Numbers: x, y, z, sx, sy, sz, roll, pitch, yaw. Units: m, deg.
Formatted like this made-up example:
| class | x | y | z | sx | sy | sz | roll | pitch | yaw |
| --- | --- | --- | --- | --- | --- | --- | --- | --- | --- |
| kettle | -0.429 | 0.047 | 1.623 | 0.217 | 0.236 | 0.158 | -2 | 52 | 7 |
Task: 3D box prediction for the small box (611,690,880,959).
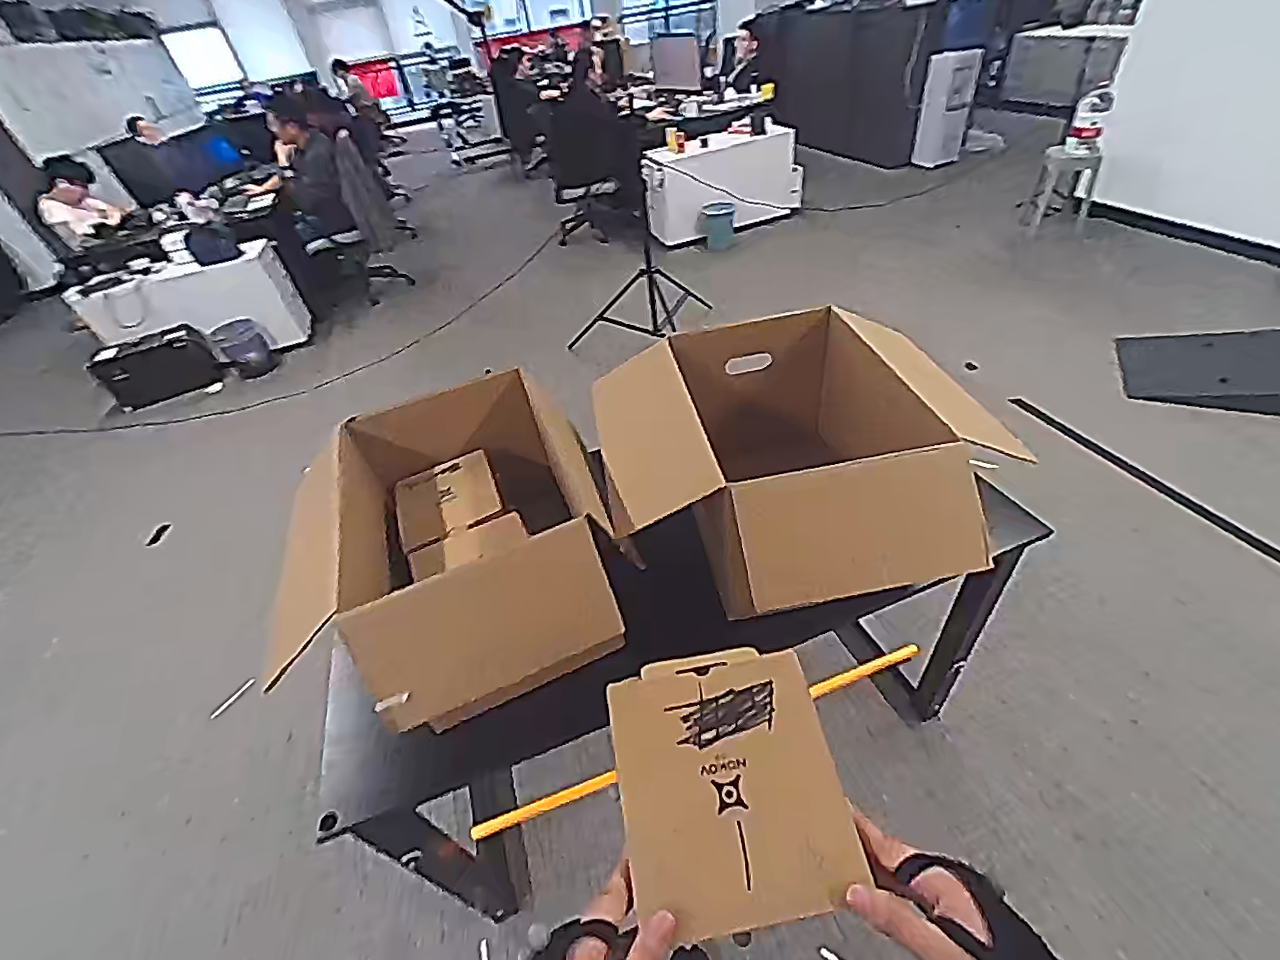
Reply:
| class | x | y | z | sx | sy | sz | roll | pitch | yaw |
| --- | --- | --- | --- | --- | --- | --- | --- | --- | --- |
| small box | 0.070 | 0.304 | 0.465 | 0.168 | 0.176 | 0.179 | -9 | 54 | -3 |
